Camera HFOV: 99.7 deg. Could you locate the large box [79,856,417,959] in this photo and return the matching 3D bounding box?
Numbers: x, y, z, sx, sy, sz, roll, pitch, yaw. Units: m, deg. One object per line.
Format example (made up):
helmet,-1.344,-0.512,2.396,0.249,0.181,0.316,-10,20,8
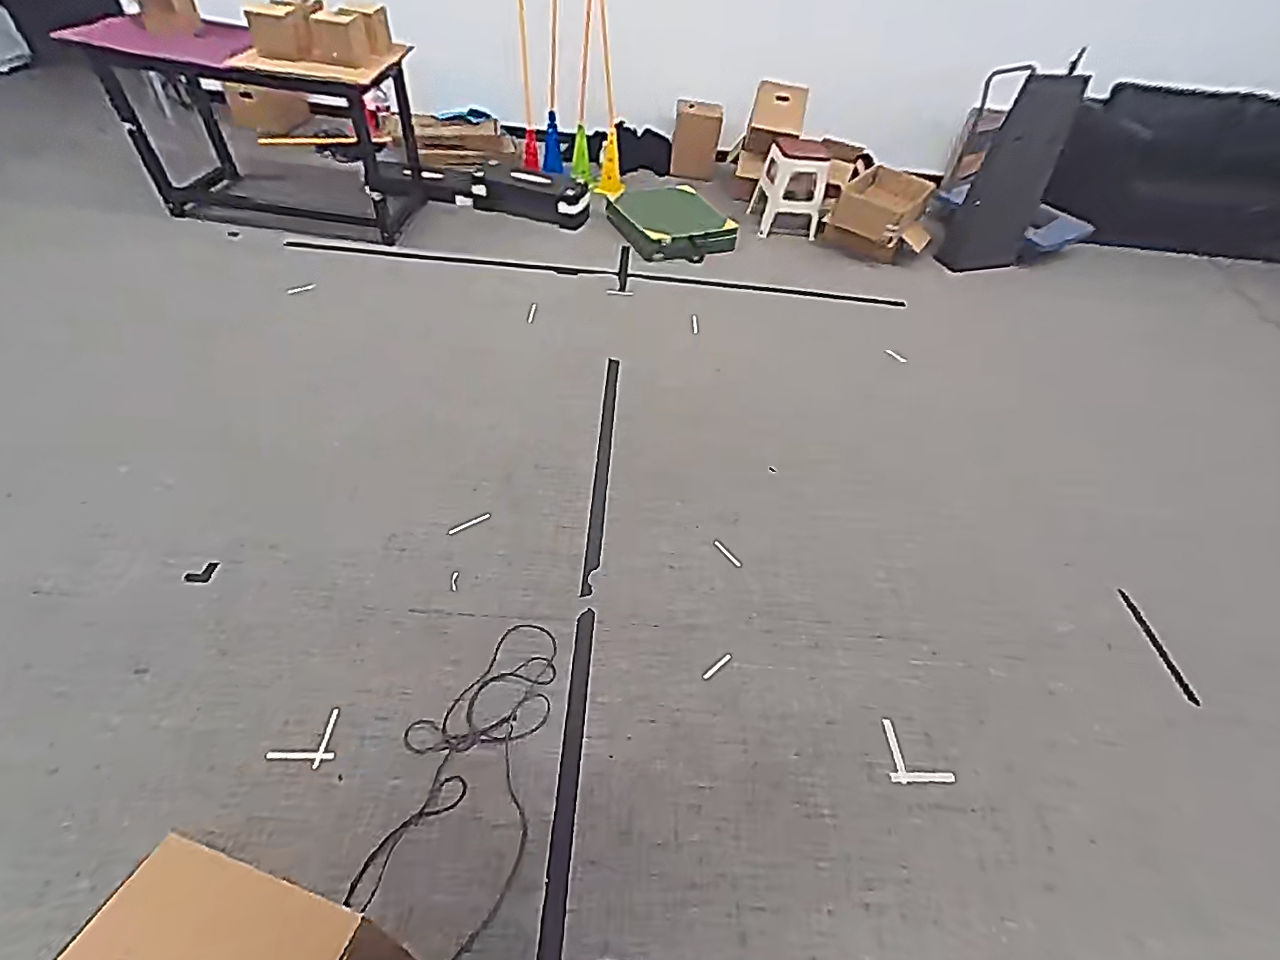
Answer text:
large box,-0.479,0.727,0.650,0.320,0.408,0.320,8,39,15
